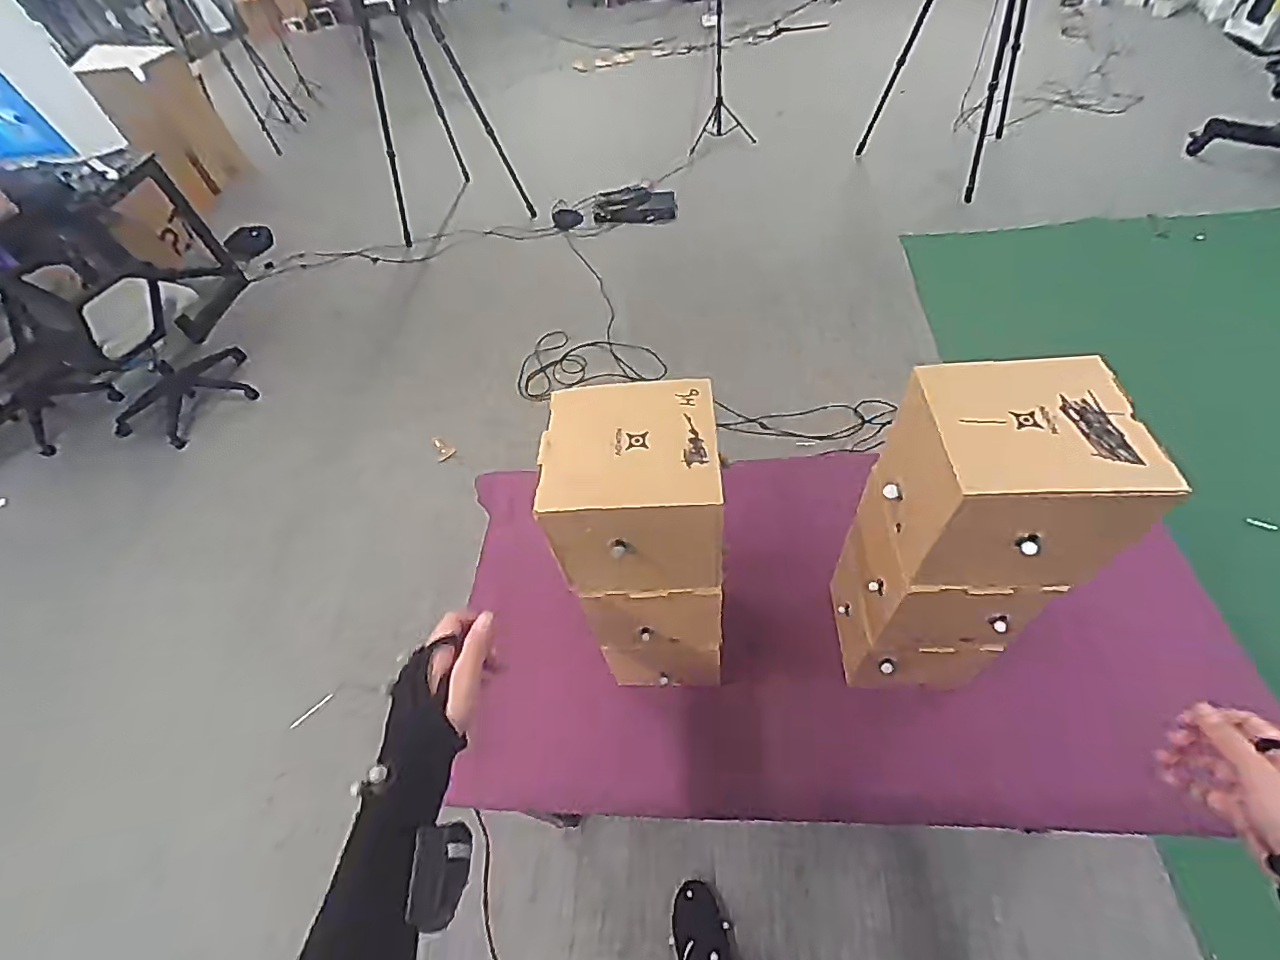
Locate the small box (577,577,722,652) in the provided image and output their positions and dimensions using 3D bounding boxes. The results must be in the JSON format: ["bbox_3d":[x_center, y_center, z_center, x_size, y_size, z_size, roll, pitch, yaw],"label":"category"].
[{"bbox_3d":[0.019,0.112,0.716,0.168,0.176,0.179,-2,53,6],"label":"small box"}]

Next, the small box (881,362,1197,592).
[{"bbox_3d":[0.366,0.002,0.543,0.179,0.176,0.168,-1,52,7],"label":"small box"}]

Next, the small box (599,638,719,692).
[{"bbox_3d":[0.038,0.213,0.842,0.168,0.176,0.179,-2,52,8],"label":"small box"}]

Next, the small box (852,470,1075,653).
[{"bbox_3d":[0.376,0.104,0.671,0.168,0.176,0.179,-2,52,6],"label":"small box"}]

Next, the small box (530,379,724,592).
[{"bbox_3d":[-0.002,0.012,0.588,0.179,0.176,0.168,-3,53,6],"label":"small box"}]
